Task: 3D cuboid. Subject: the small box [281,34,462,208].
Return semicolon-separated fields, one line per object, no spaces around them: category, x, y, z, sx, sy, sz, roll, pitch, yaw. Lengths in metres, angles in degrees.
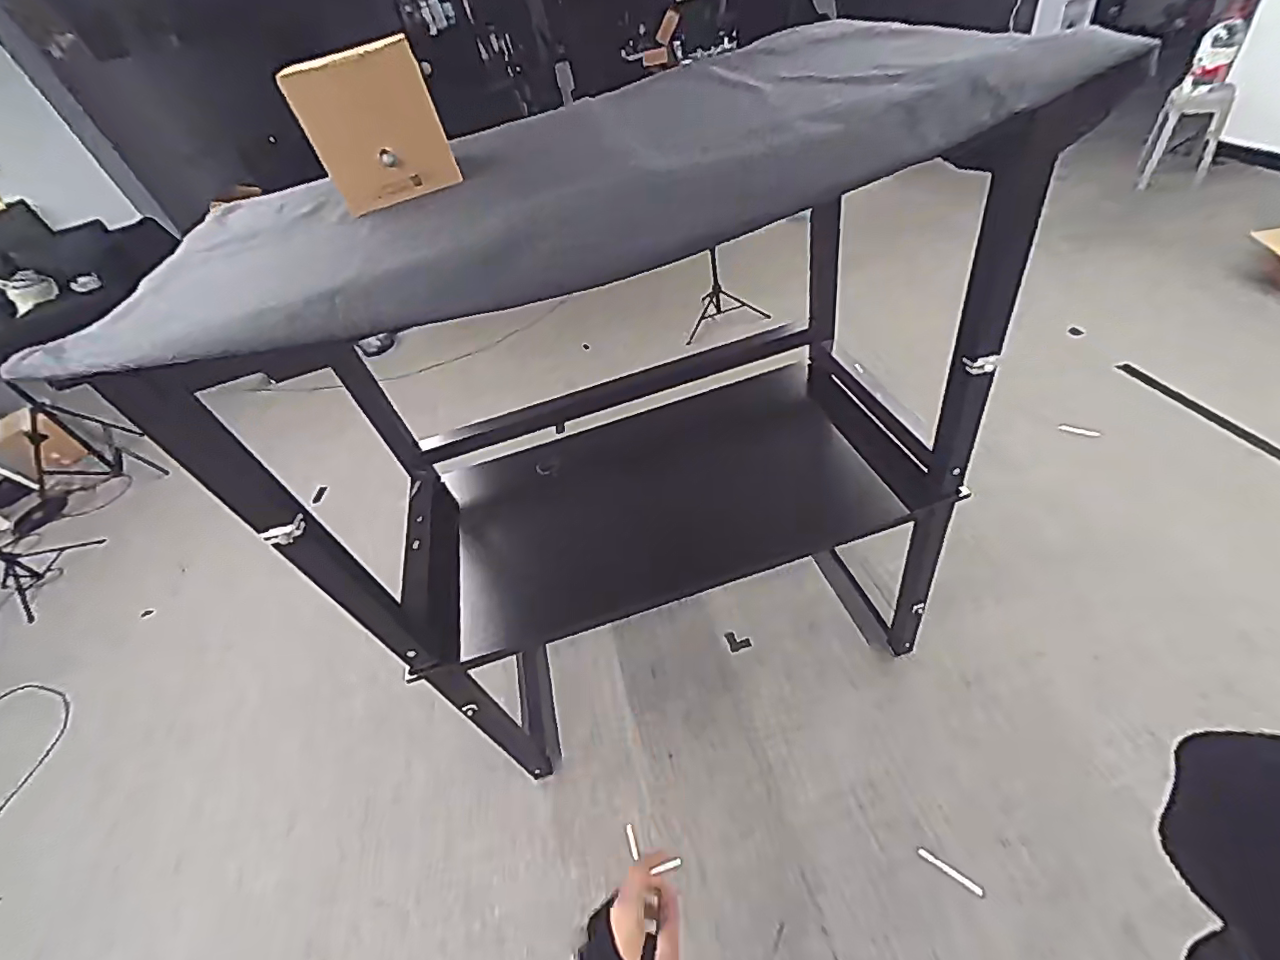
small box;-0.374;-0.519;0.784;0.168;0.176;0.179;-22;44;-5
